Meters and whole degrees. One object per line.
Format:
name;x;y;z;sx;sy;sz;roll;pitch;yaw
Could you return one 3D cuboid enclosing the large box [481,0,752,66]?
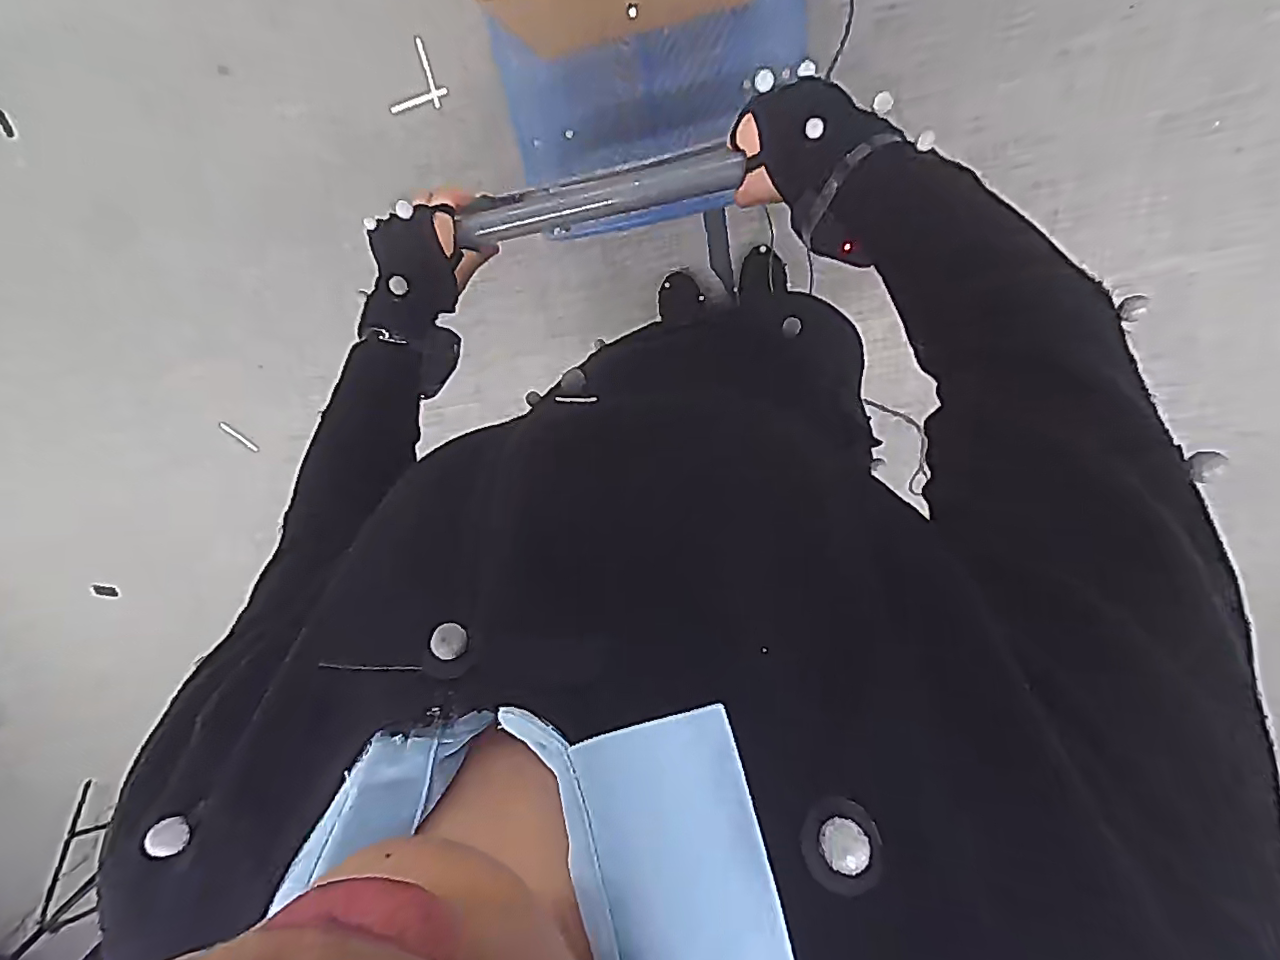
large box;-0.041;-0.907;0.827;0.408;0.320;0.320;-6;112;14
